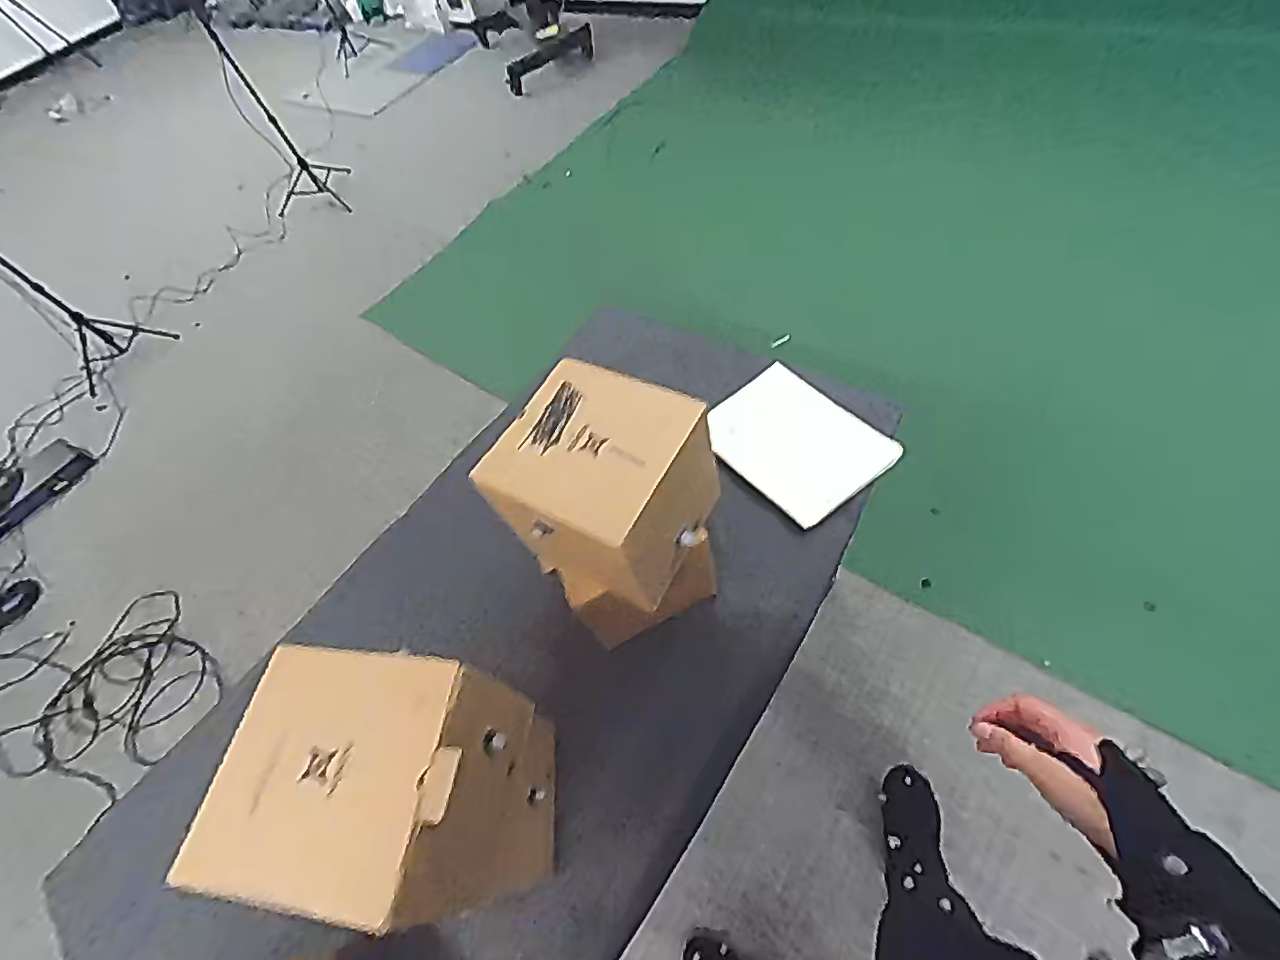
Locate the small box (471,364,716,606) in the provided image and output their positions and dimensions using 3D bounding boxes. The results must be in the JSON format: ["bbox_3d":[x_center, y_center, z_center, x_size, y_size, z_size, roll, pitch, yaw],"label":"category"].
[{"bbox_3d":[-0.034,0.010,0.572,0.179,0.176,0.168,22,66,24],"label":"small box"}]

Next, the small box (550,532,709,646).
[{"bbox_3d":[-0.019,0.092,0.715,0.179,0.176,0.168,-27,56,-5],"label":"small box"}]

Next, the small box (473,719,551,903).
[{"bbox_3d":[-0.202,0.353,0.588,0.179,0.176,0.168,-10,56,6],"label":"small box"}]

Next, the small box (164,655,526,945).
[{"bbox_3d":[-0.216,0.258,0.456,0.179,0.176,0.168,0,57,13],"label":"small box"}]
